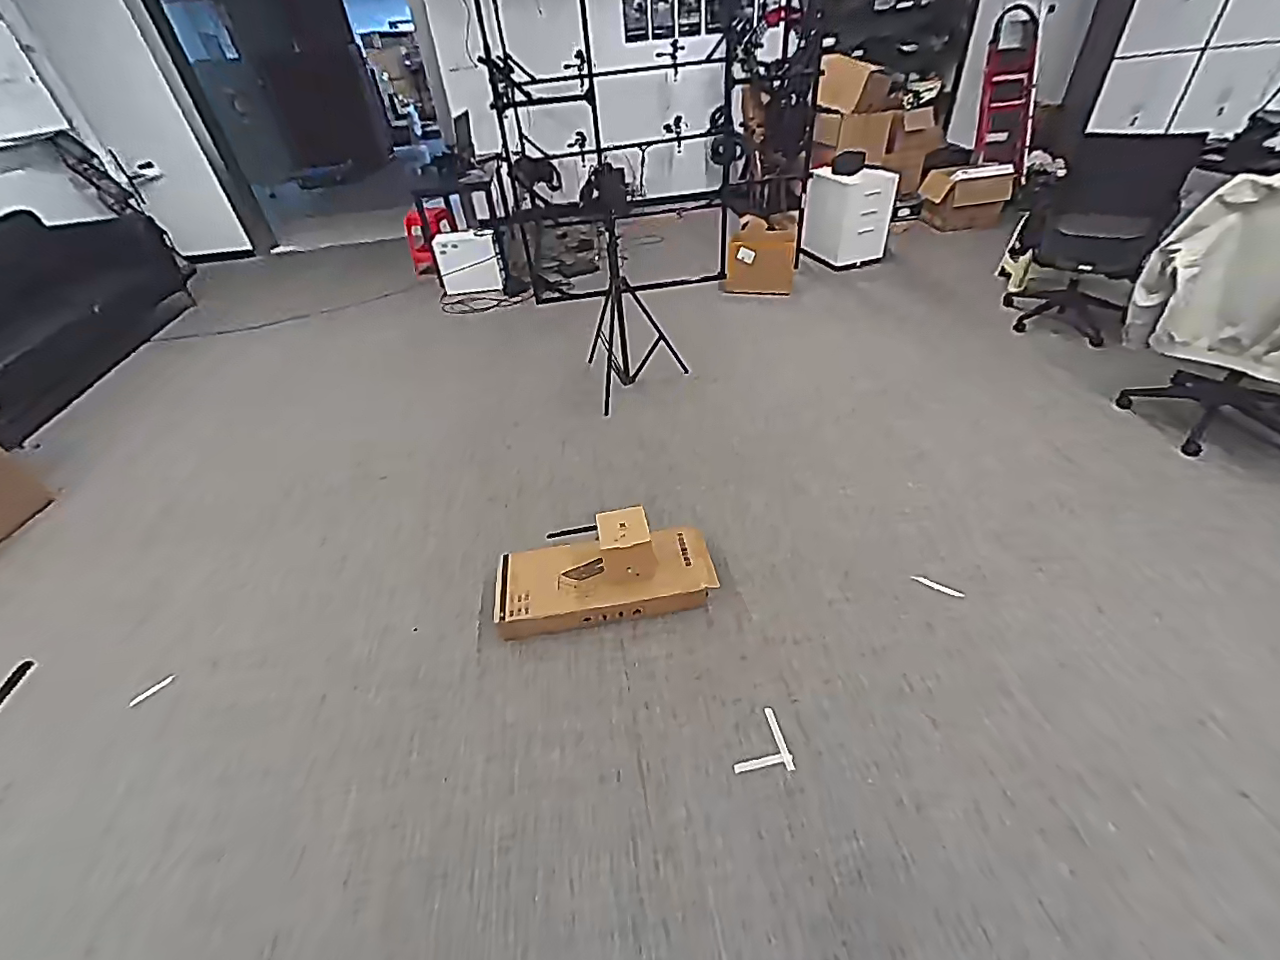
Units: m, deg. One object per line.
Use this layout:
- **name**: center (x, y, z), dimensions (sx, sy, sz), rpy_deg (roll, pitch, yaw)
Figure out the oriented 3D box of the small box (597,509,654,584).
- **small box**: center (-0.049, 0.225, 1.829), dimensions (0.168, 0.176, 0.179), rpy_deg (-10, 39, -4)
